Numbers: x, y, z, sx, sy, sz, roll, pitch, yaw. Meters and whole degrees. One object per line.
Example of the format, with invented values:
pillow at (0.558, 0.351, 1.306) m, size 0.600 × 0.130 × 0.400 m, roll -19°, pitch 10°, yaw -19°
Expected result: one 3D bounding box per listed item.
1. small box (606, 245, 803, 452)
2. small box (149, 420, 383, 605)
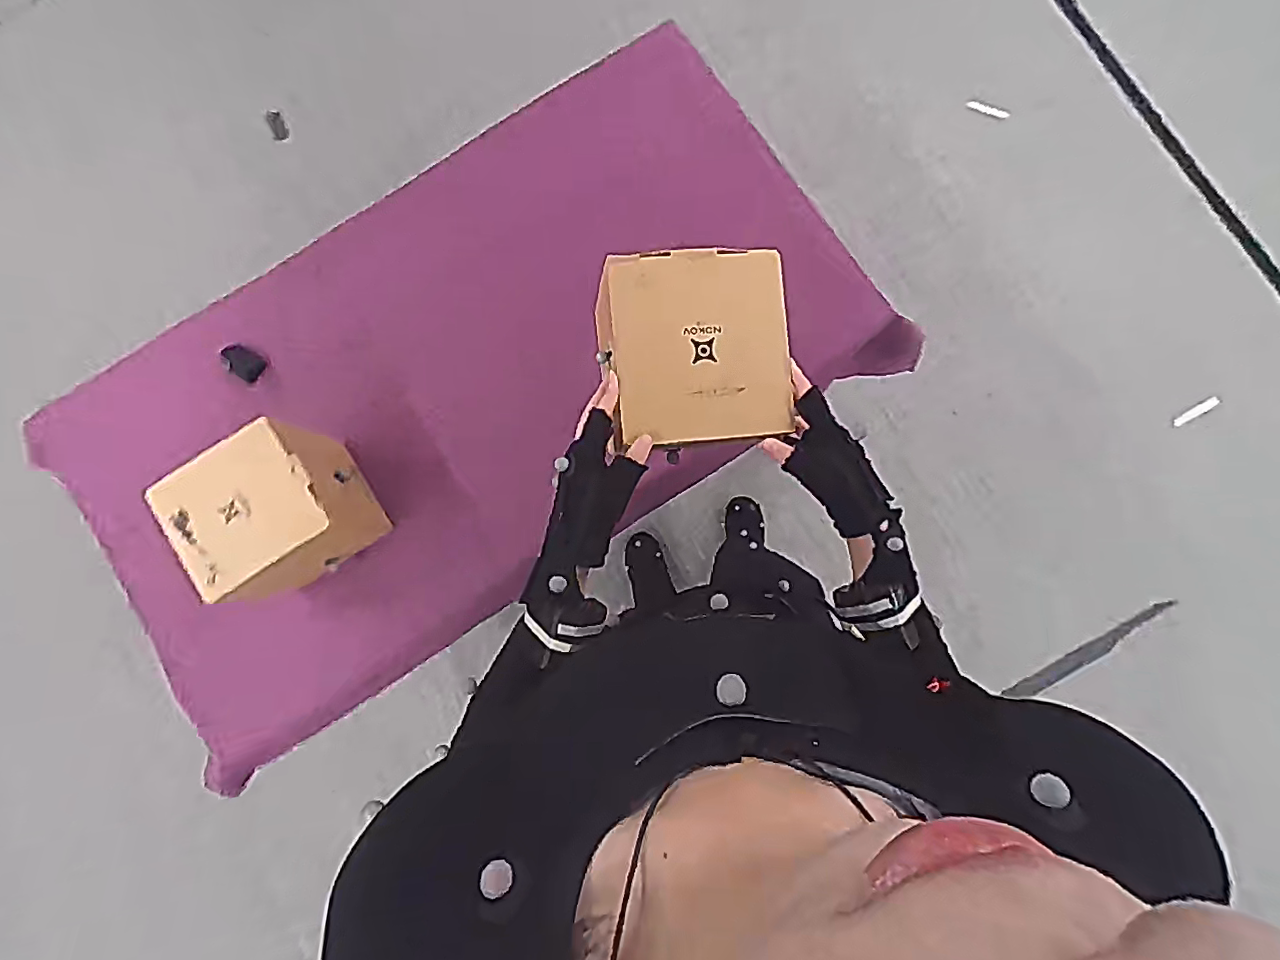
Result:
small box at (0.055, -0.126, 0.572) m, size 0.168 × 0.176 × 0.179 m, roll -5°, pitch 91°, yaw -7°
small box at (-0.483, 0.045, 0.734) m, size 0.179 × 0.176 × 0.168 m, roll -34°, pitch 84°, yaw -4°
